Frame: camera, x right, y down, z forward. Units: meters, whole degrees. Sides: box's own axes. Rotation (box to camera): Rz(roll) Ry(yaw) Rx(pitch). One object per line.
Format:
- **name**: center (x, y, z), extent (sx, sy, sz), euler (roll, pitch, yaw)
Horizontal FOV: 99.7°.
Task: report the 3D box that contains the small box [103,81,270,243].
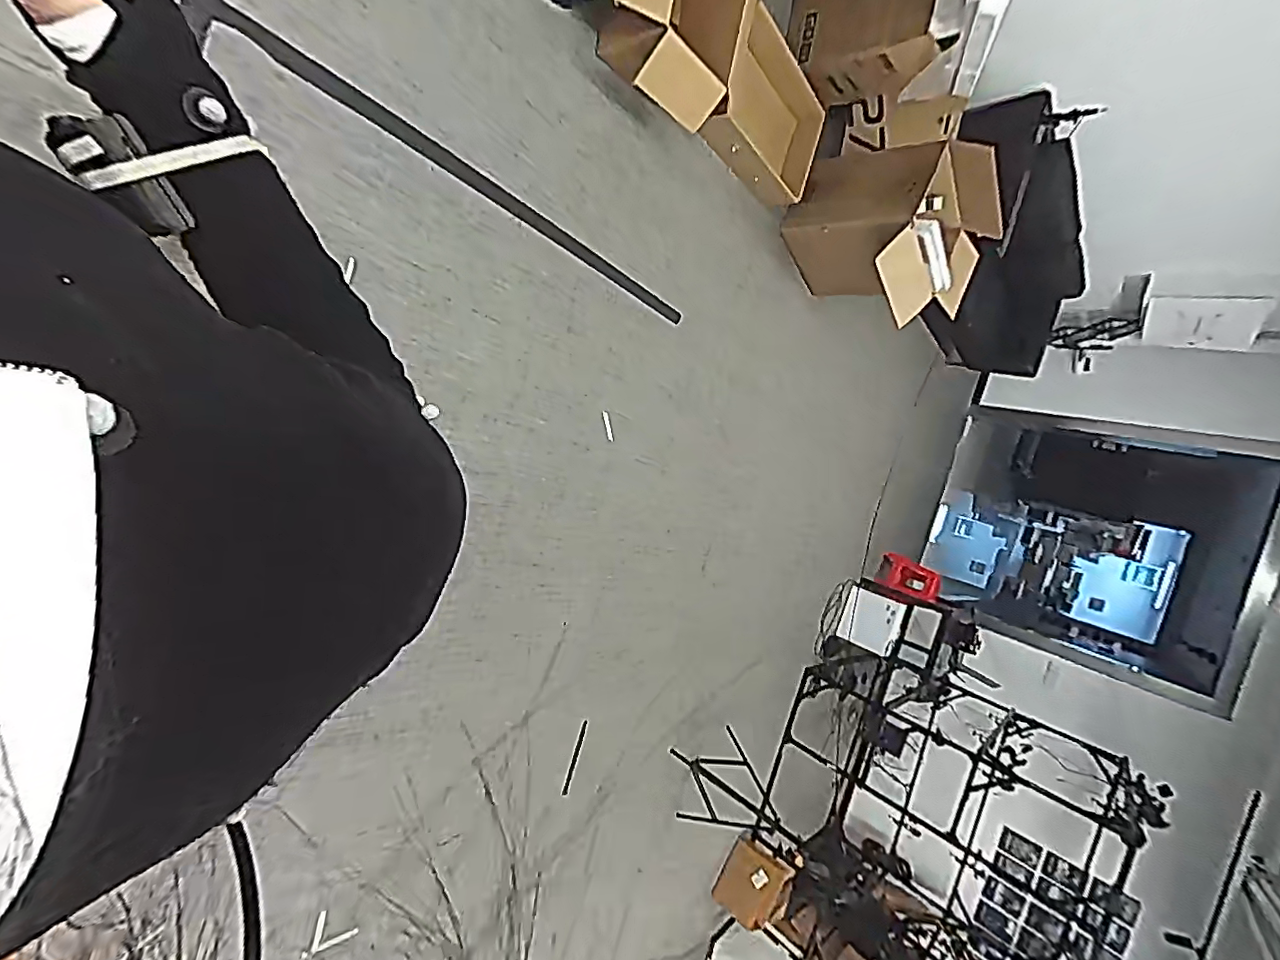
- **small box**: center (-0.770, -0.517, 0.915), extent (0.179, 0.176, 0.168), euler (14, 94, -50)
